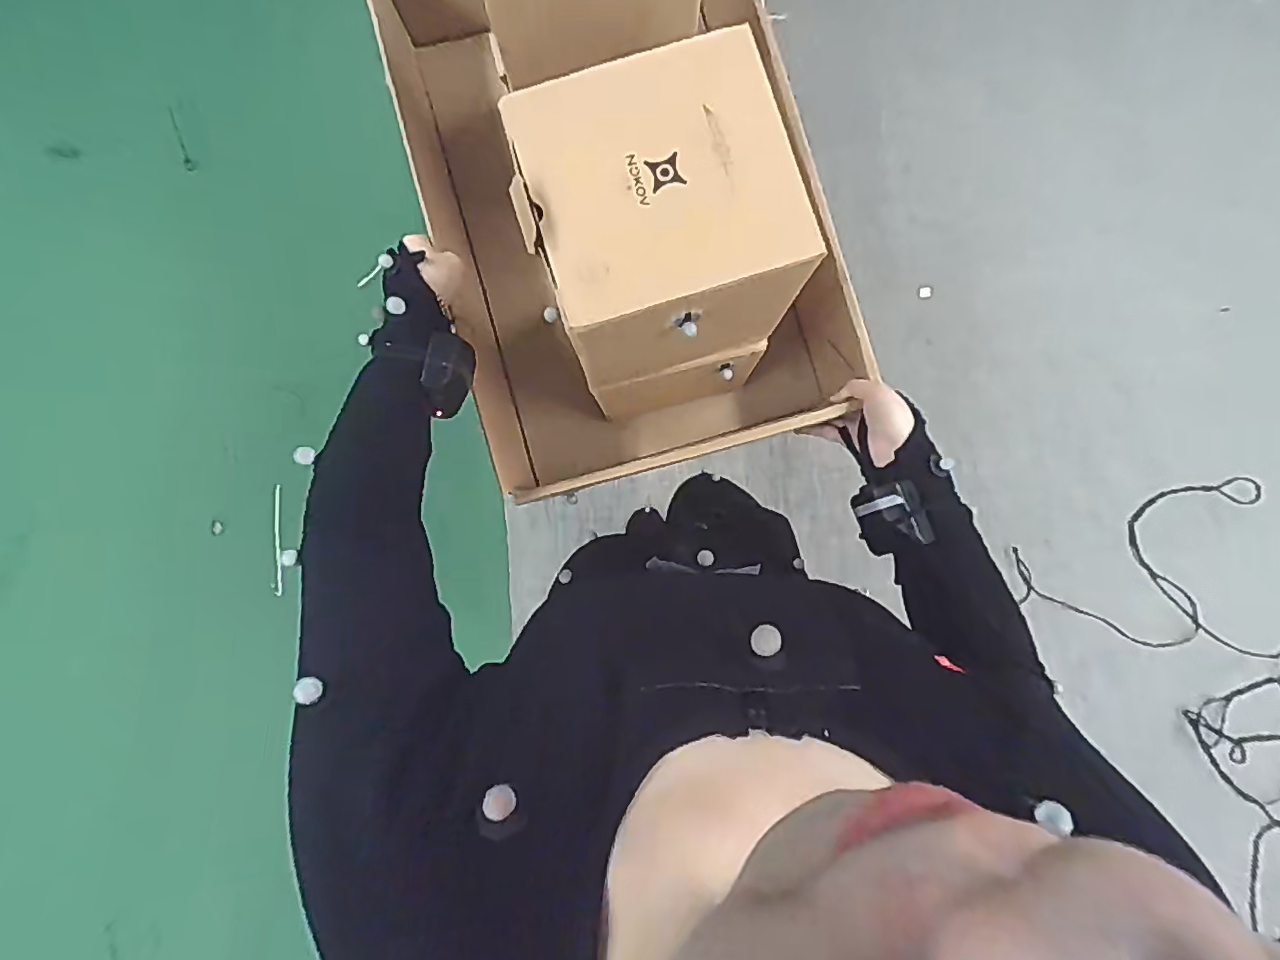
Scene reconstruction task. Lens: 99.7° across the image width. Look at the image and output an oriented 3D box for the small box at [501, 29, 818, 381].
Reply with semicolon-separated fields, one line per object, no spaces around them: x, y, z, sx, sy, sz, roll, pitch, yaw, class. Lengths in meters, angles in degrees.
0.012;-0.194;0.434;0.179;0.176;0.168;-17;86;-1;small box
